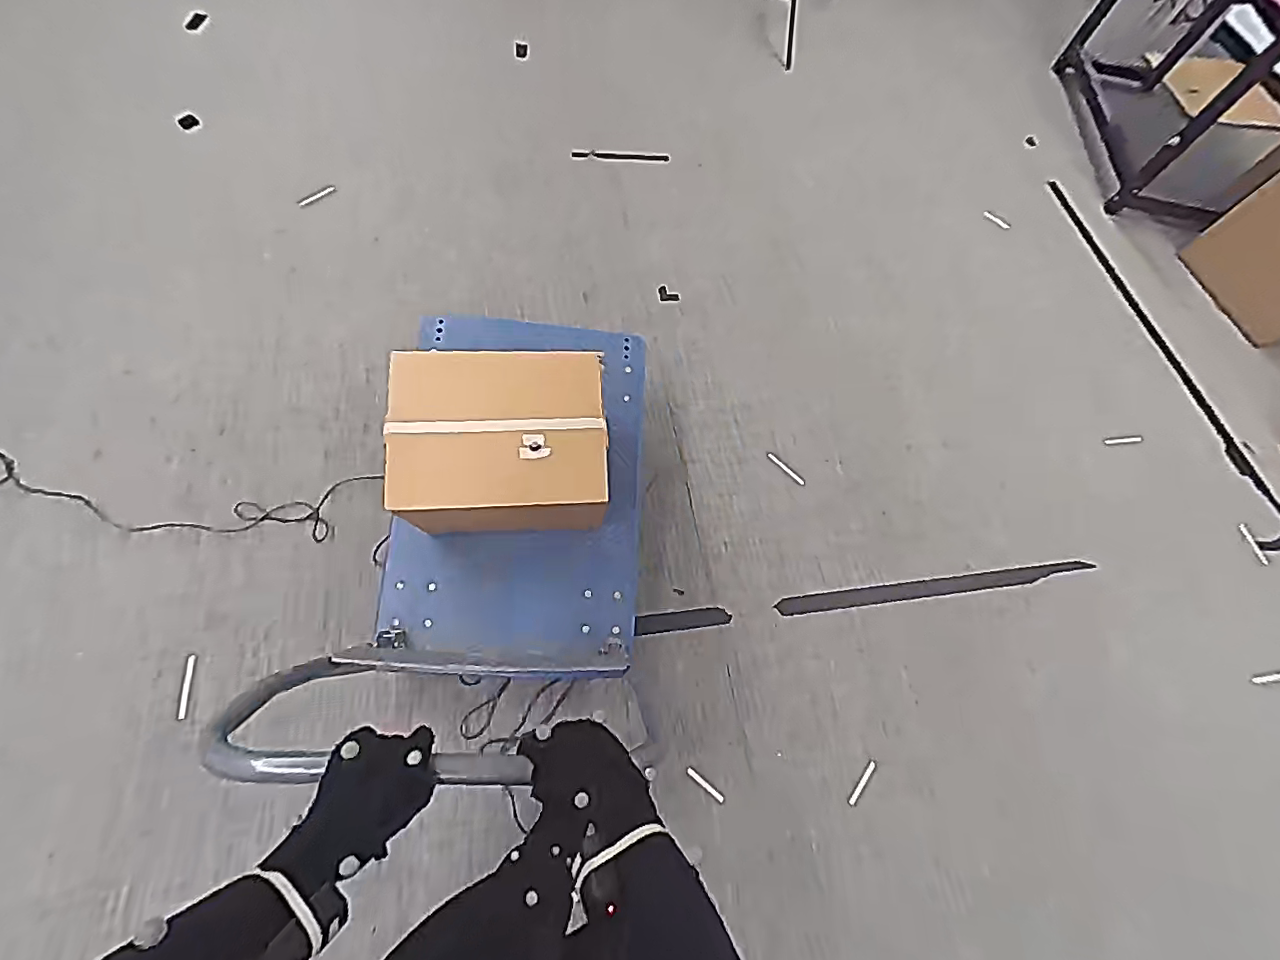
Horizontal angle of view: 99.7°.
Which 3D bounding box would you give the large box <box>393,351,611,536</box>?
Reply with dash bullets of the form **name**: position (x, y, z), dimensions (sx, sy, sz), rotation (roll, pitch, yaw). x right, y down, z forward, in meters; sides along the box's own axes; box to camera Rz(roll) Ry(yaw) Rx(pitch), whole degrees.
- **large box**: position (-0.288, -0.066, 1.179), dimensions (0.408, 0.320, 0.320), rotation (-3, 77, -9)
